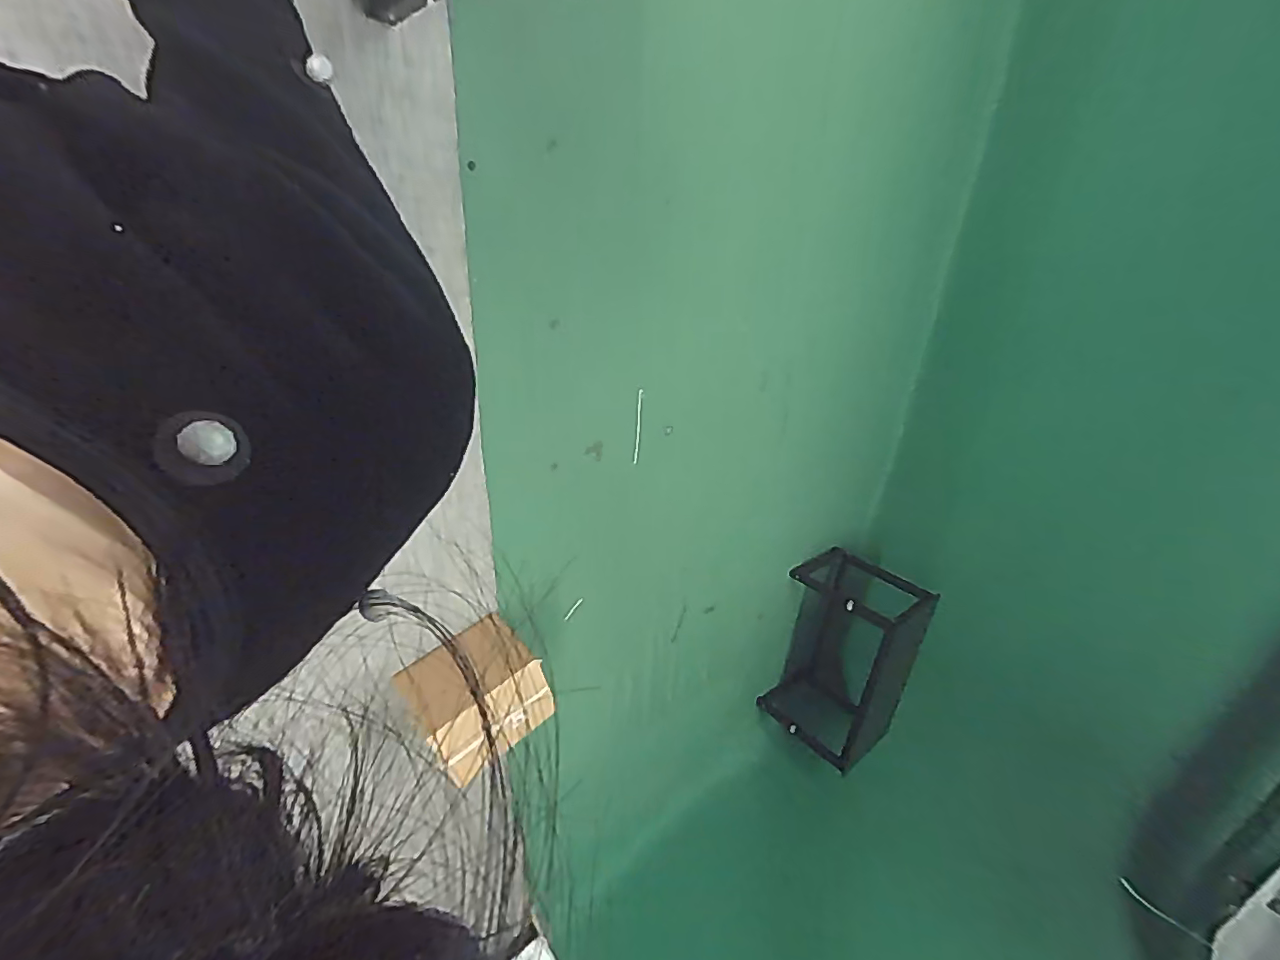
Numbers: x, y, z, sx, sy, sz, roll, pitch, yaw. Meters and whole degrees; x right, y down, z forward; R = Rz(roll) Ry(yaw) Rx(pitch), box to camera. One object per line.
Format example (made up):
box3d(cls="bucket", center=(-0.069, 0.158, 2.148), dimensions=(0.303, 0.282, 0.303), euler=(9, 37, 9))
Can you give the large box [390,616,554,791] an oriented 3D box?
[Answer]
box3d(cls="large box", center=(-0.578, 0.763, 1.893), dimensions=(0.408, 0.320, 0.320), euler=(-32, 131, -30))
